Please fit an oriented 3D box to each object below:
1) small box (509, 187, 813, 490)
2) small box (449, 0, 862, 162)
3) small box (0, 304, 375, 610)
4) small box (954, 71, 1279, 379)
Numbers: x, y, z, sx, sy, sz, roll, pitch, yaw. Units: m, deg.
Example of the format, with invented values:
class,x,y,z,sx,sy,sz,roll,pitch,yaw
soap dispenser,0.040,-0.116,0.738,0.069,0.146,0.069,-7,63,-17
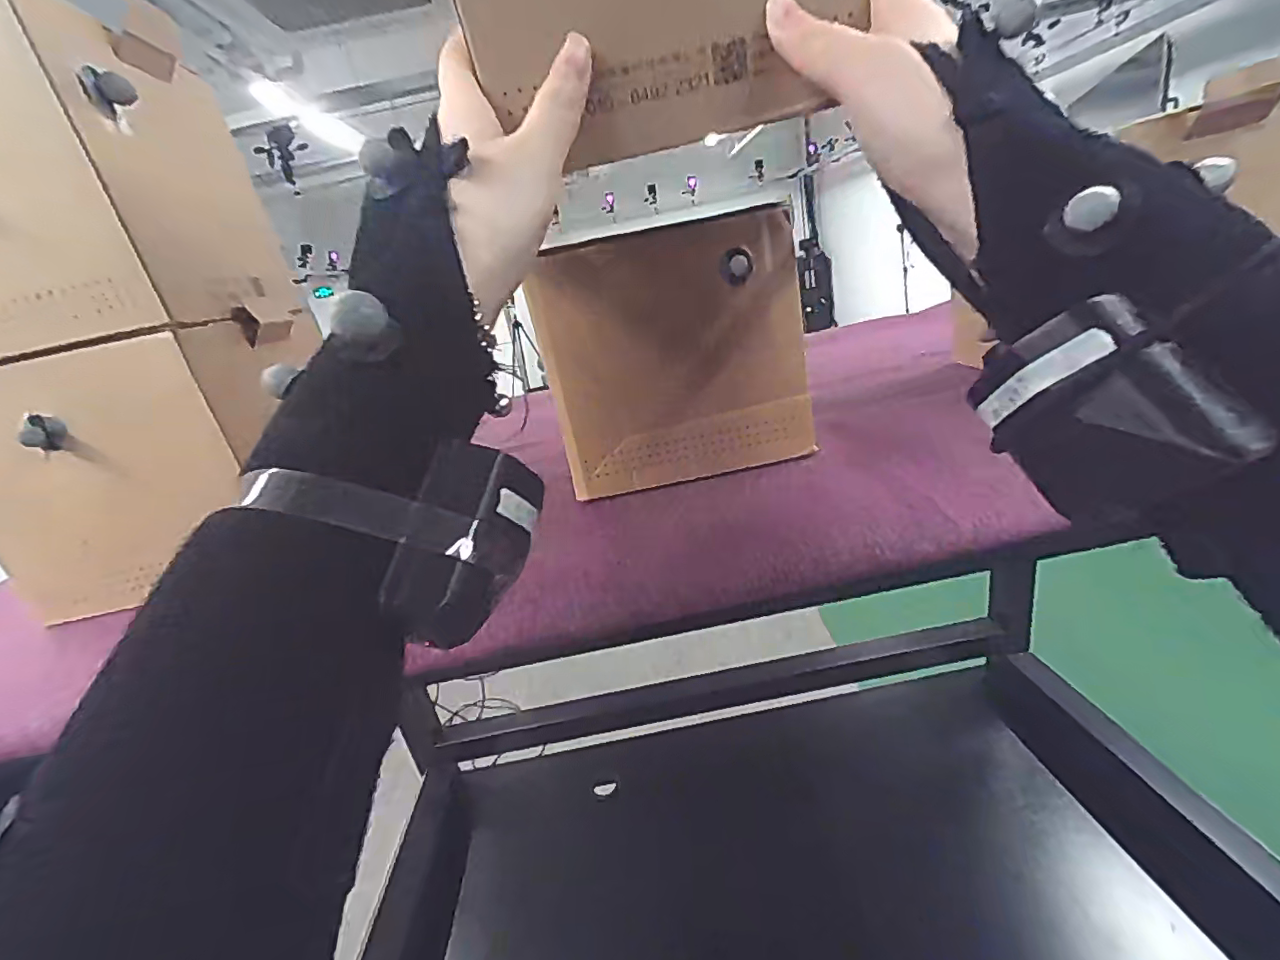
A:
class,x,y,z,sx,sy,sz,roll,pitch,yaw
small box,0.018,-0.103,0.420,0.179,0.176,0.168,-11,19,0
small box,-0.007,-0.259,0.251,0.168,0.176,0.179,-13,33,0
small box,-0.336,-0.025,0.402,0.179,0.176,0.168,-12,22,0
small box,0.371,-0.182,0.416,0.168,0.176,0.179,-11,19,7
